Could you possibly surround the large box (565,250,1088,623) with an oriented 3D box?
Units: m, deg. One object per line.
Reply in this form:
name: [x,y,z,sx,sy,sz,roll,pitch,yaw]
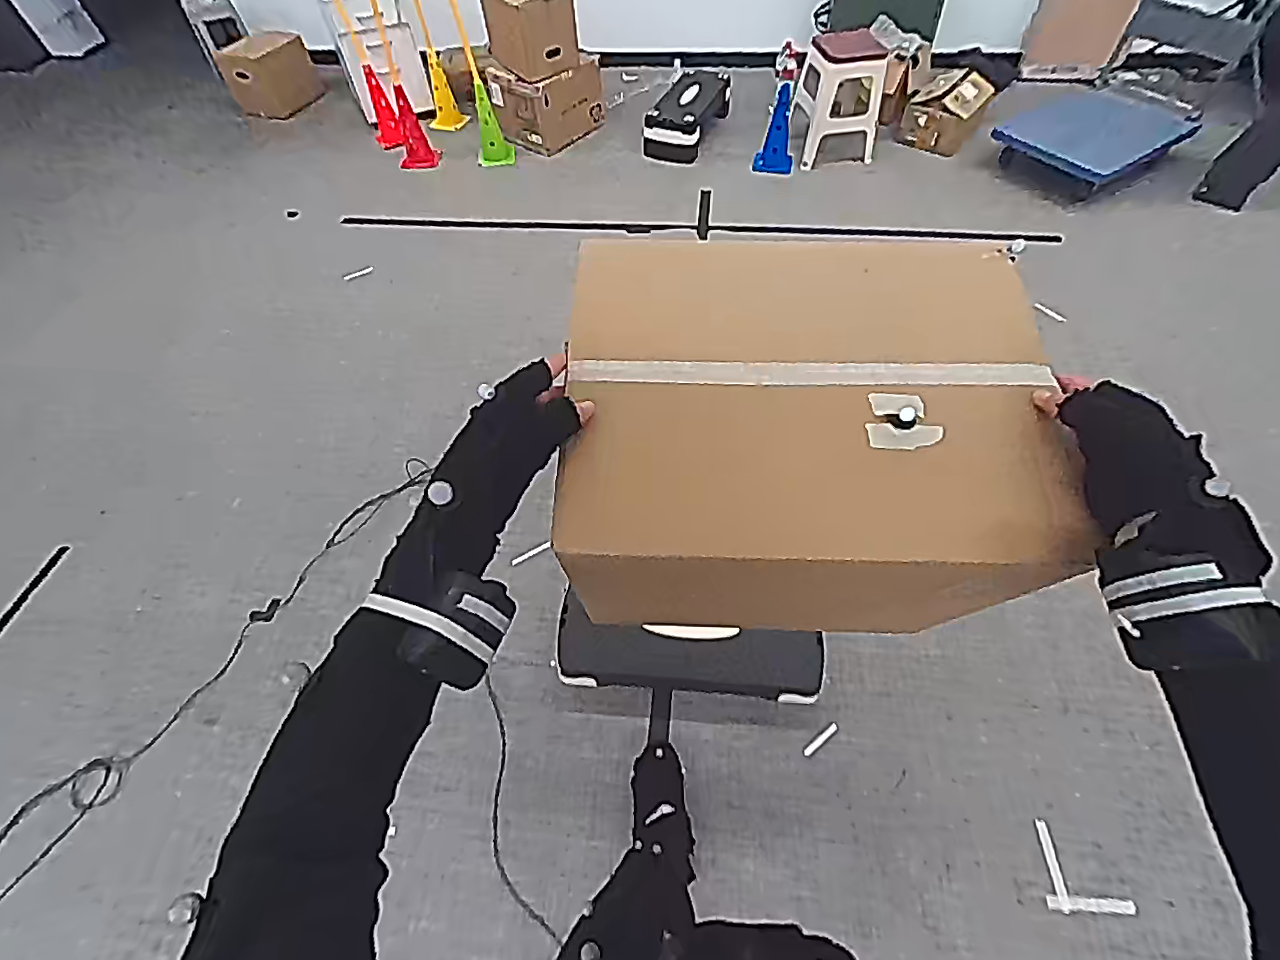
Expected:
large box: [0.139,-0.025,0.602,0.408,0.320,0.320,1,66,0]
